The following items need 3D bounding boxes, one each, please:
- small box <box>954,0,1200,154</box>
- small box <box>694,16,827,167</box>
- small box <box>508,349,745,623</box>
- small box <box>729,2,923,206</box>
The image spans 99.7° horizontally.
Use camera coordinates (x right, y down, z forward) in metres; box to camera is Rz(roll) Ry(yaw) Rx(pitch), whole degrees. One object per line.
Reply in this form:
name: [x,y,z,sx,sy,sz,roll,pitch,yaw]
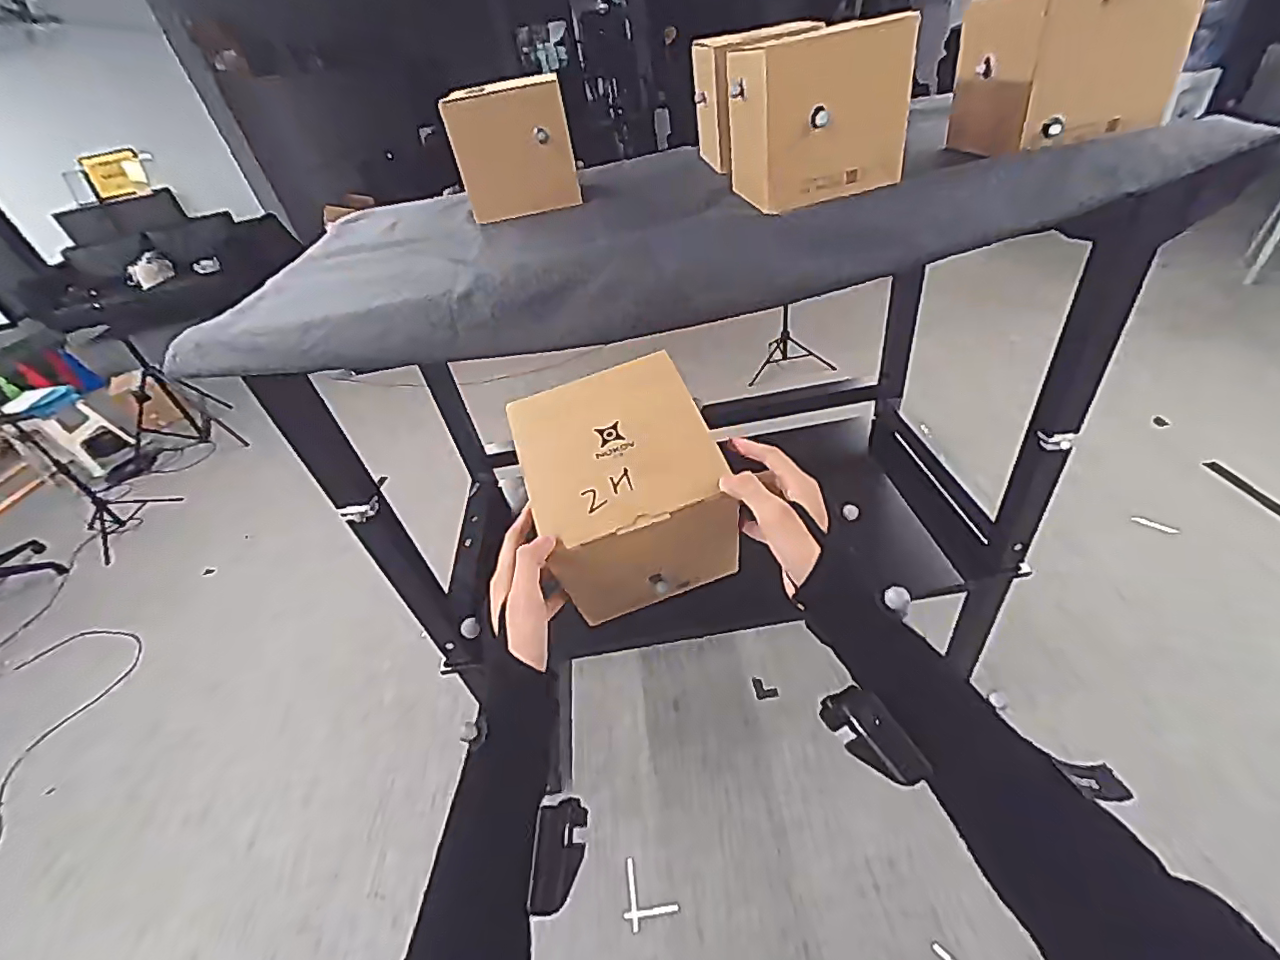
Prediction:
small box: [0.509,-0.504,0.646,0.168,0.176,0.179,-9,36,4]
small box: [0.187,-0.622,0.873,0.168,0.176,0.179,-11,39,1]
small box: [-0.011,0.011,0.524,0.168,0.176,0.179,-20,57,-4]
small box: [0.213,-0.448,0.659,0.168,0.176,0.179,-12,37,0]
